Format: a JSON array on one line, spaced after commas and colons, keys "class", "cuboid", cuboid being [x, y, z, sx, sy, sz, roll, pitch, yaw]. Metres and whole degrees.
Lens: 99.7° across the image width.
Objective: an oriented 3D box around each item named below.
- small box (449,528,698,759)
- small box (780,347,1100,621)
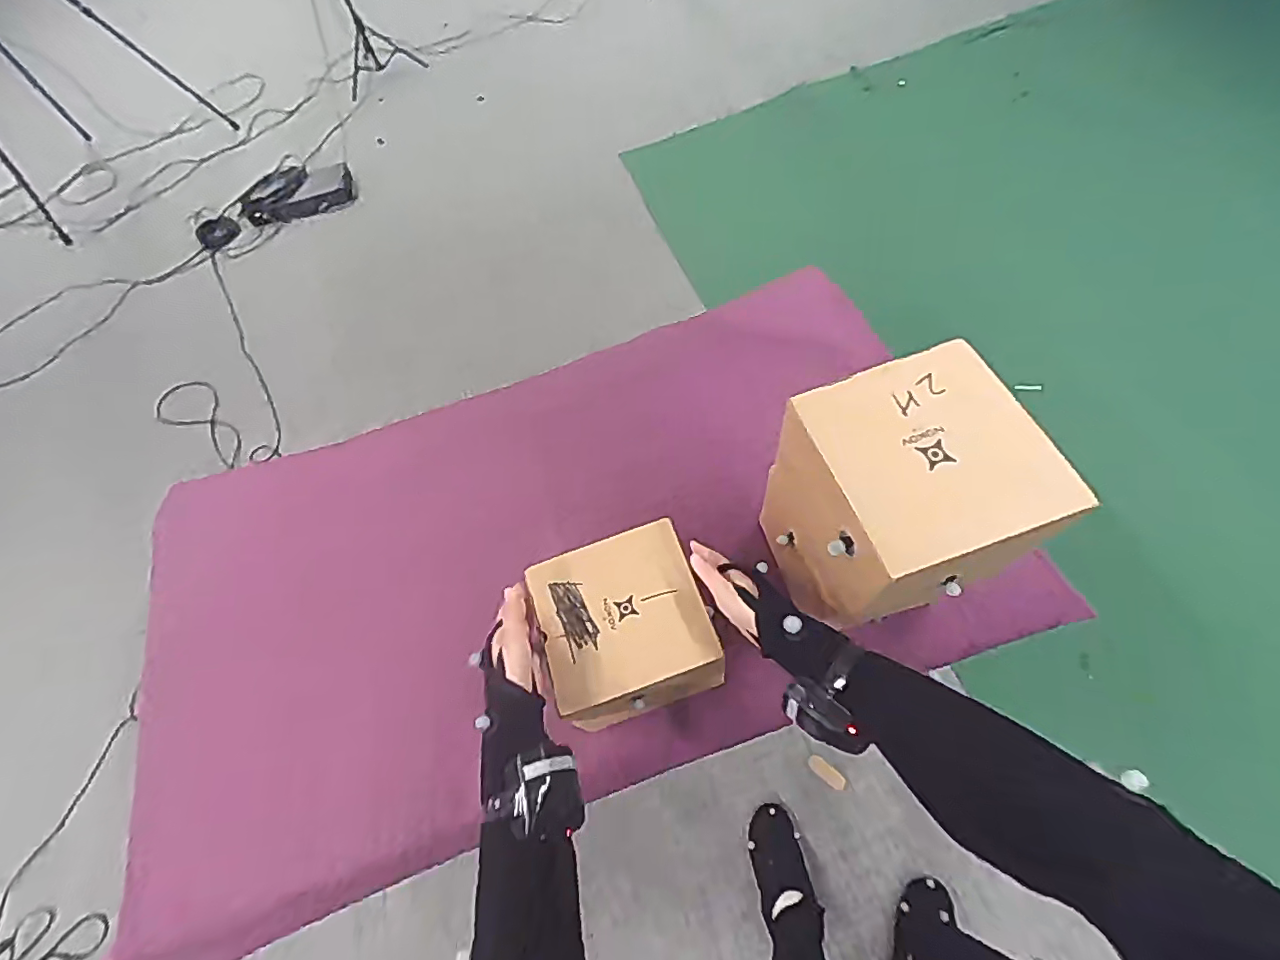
[{"class": "small box", "cuboid": [-0.071, 0.166, 0.602, 0.168, 0.176, 0.179, 1, 50, 49]}, {"class": "small box", "cuboid": [0.244, 0.017, 0.497, 0.168, 0.176, 0.179, -19, 61, -2]}]
